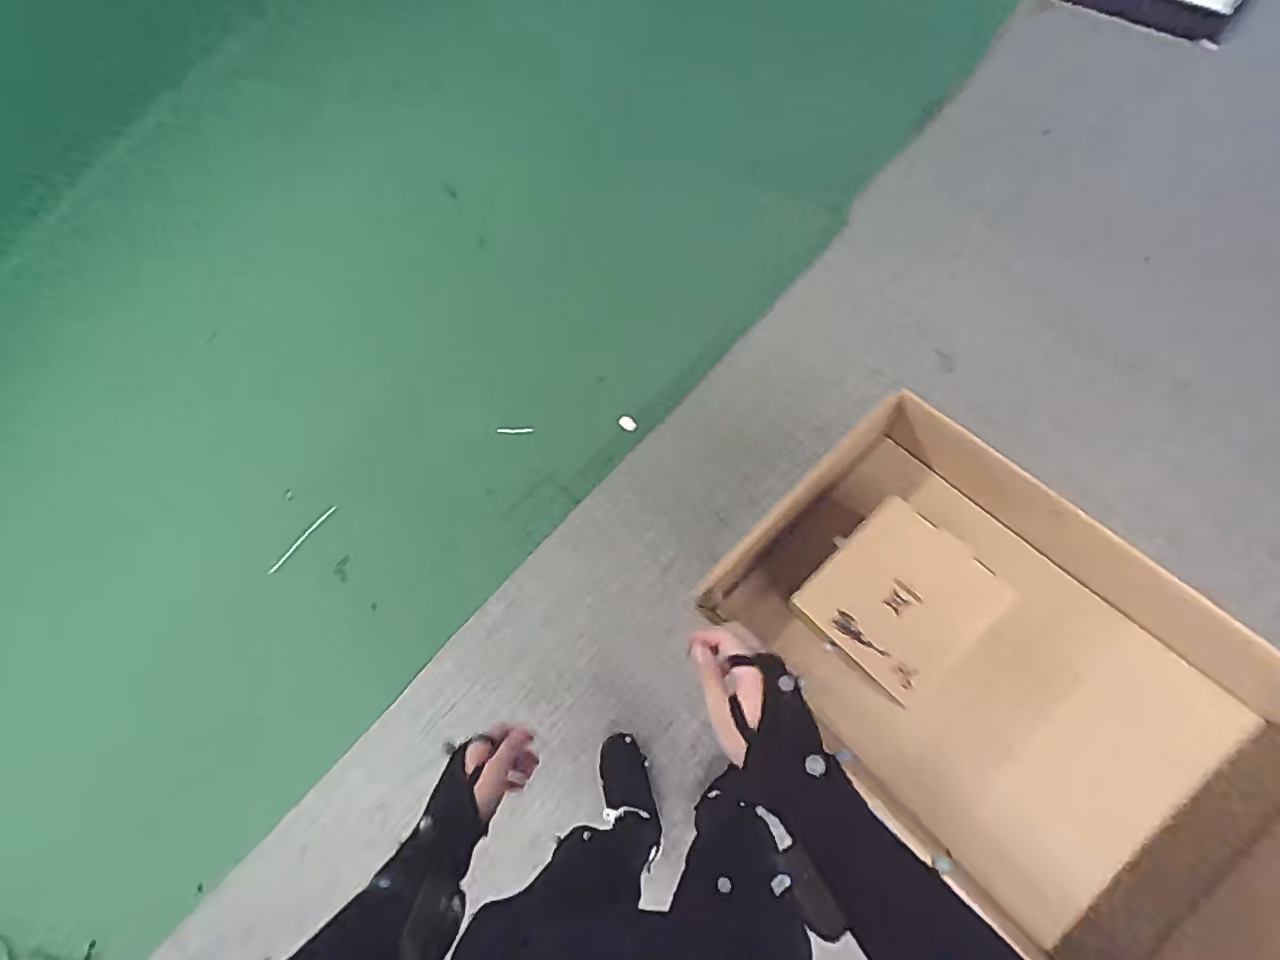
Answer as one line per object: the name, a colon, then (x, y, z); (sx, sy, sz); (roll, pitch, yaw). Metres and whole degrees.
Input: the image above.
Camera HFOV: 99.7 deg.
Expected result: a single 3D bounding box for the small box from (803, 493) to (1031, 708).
small box: (0.317, 0.147, 0.667); (0.179, 0.176, 0.168); (-45, 68, -2)
